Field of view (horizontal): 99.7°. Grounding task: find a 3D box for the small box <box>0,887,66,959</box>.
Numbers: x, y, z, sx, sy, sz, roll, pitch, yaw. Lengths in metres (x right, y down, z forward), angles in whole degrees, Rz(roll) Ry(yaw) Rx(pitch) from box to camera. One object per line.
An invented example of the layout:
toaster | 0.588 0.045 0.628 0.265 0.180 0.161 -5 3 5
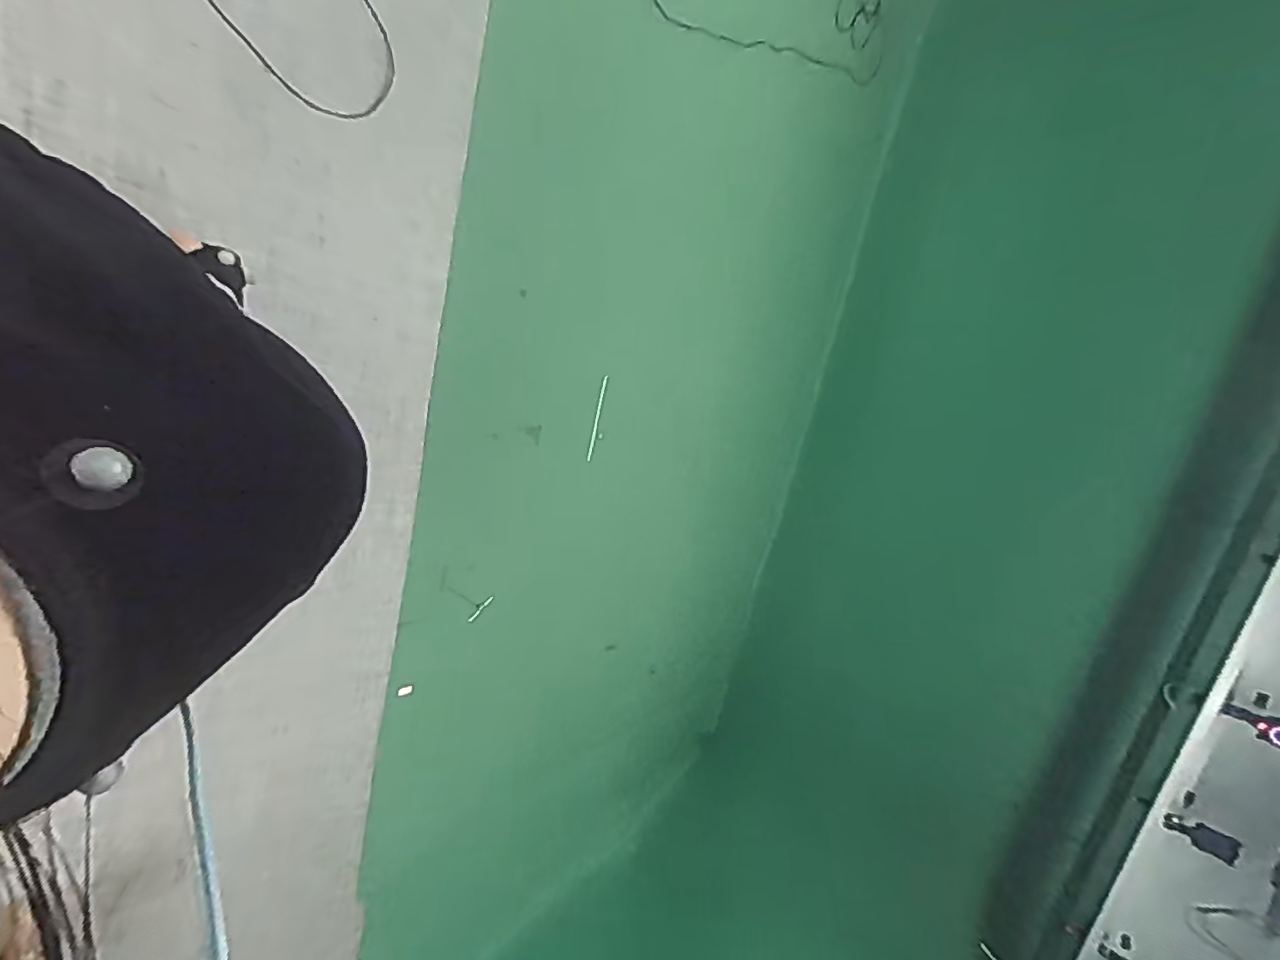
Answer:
small box | -1.411 1.071 1.196 0.179 0.176 0.168 -12 117 -52
